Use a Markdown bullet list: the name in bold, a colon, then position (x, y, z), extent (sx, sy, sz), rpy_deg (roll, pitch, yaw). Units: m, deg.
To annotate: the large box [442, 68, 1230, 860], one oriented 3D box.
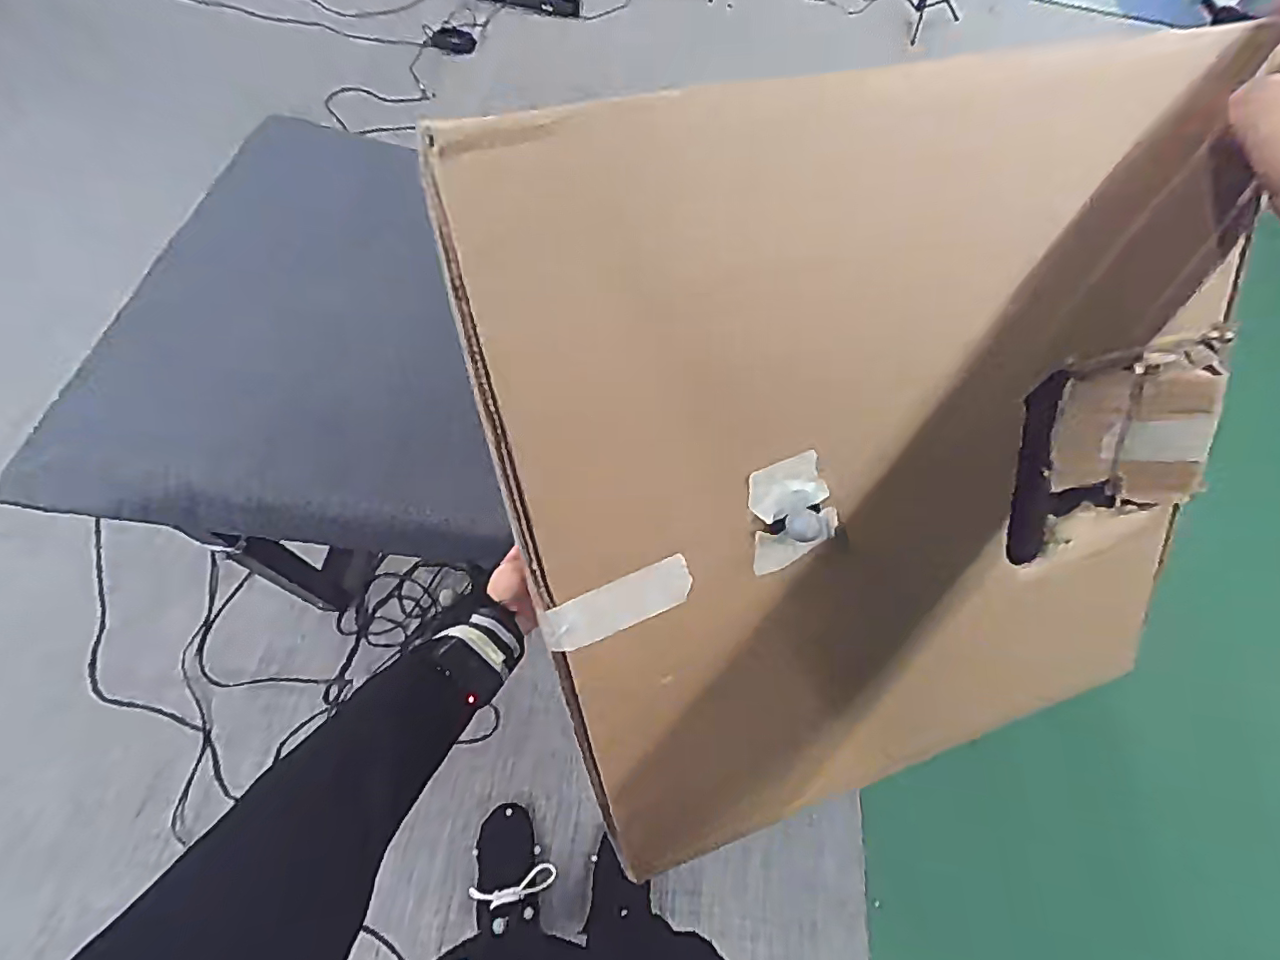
- **large box**: position (0.055, -0.050, 0.409), extent (0.320, 0.320, 0.408), rpy_deg (-16, 24, -13)
